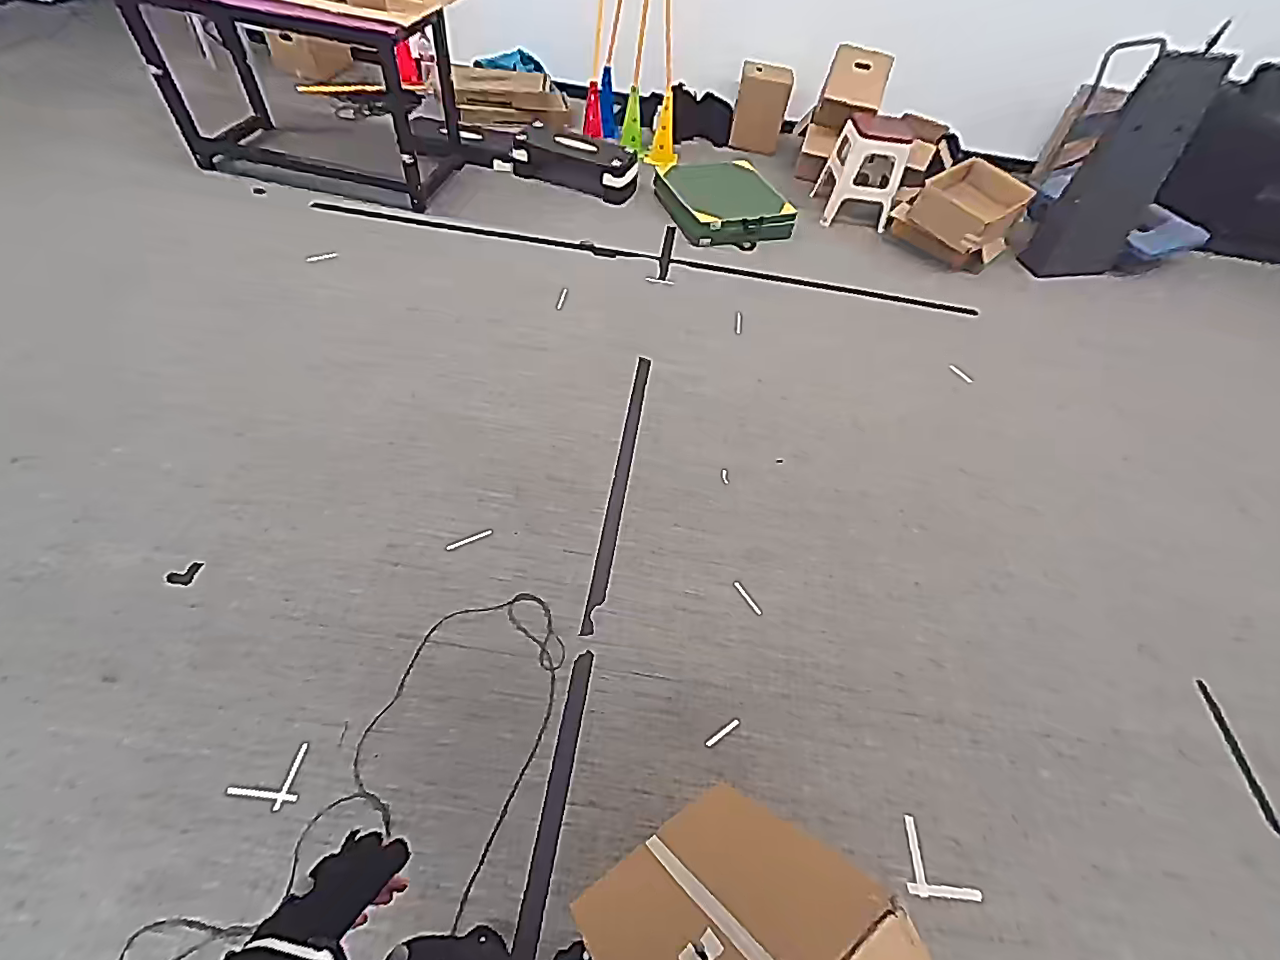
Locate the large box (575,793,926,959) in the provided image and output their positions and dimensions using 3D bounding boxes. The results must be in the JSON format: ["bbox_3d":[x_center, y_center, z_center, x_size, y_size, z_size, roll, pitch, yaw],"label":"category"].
[{"bbox_3d":[0.157,0.707,0.715,0.320,0.408,0.320,-25,89,-24],"label":"large box"}]
